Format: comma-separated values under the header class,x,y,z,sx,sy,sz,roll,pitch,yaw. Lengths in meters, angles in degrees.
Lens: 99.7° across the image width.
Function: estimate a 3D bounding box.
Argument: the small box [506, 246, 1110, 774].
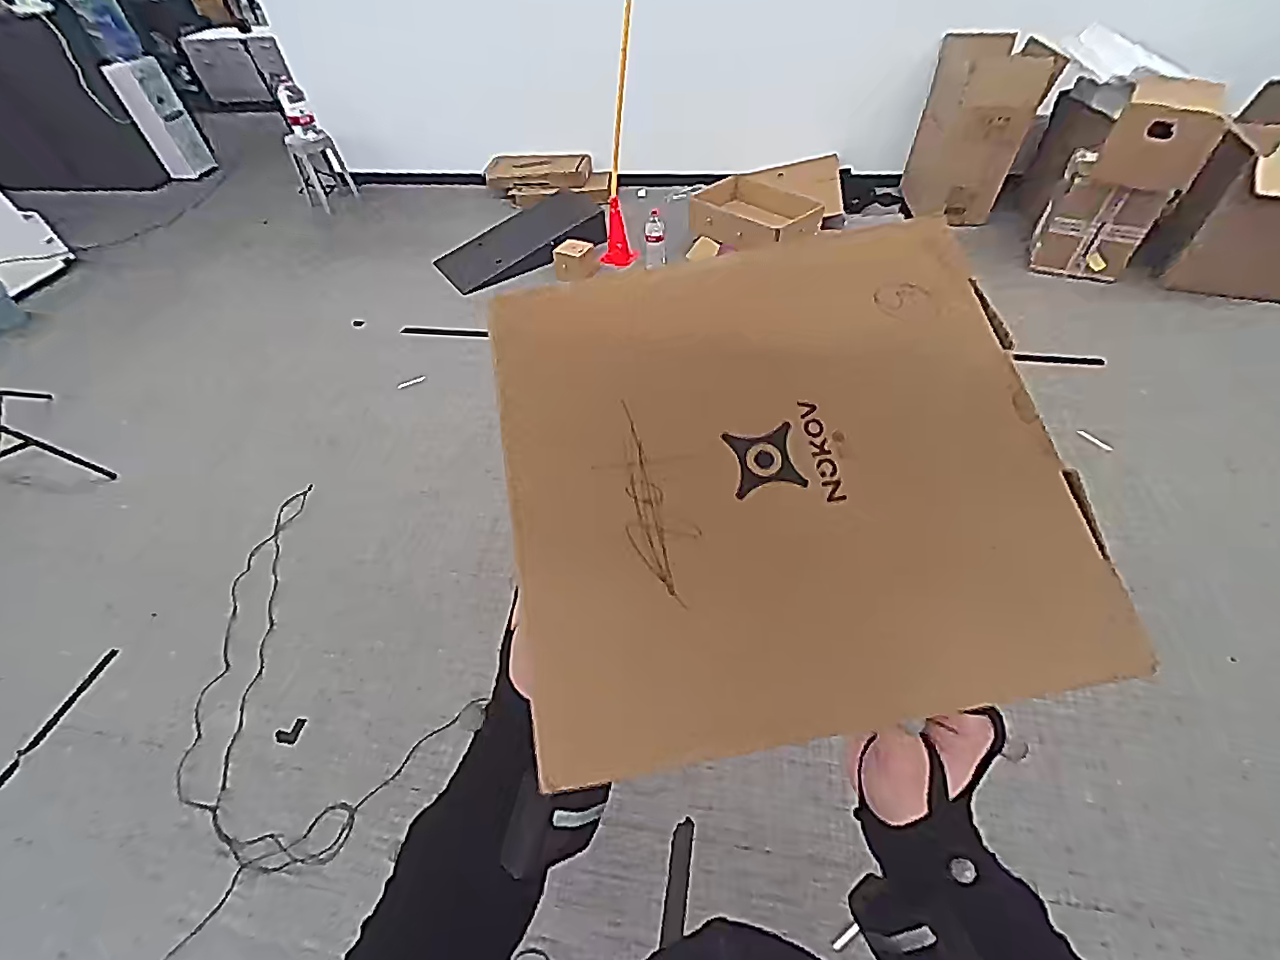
class,x,y,z,sx,sy,sz,roll,pitch,yaw
small box,0.048,0.023,0.262,0.179,0.176,0.168,-10,70,0
